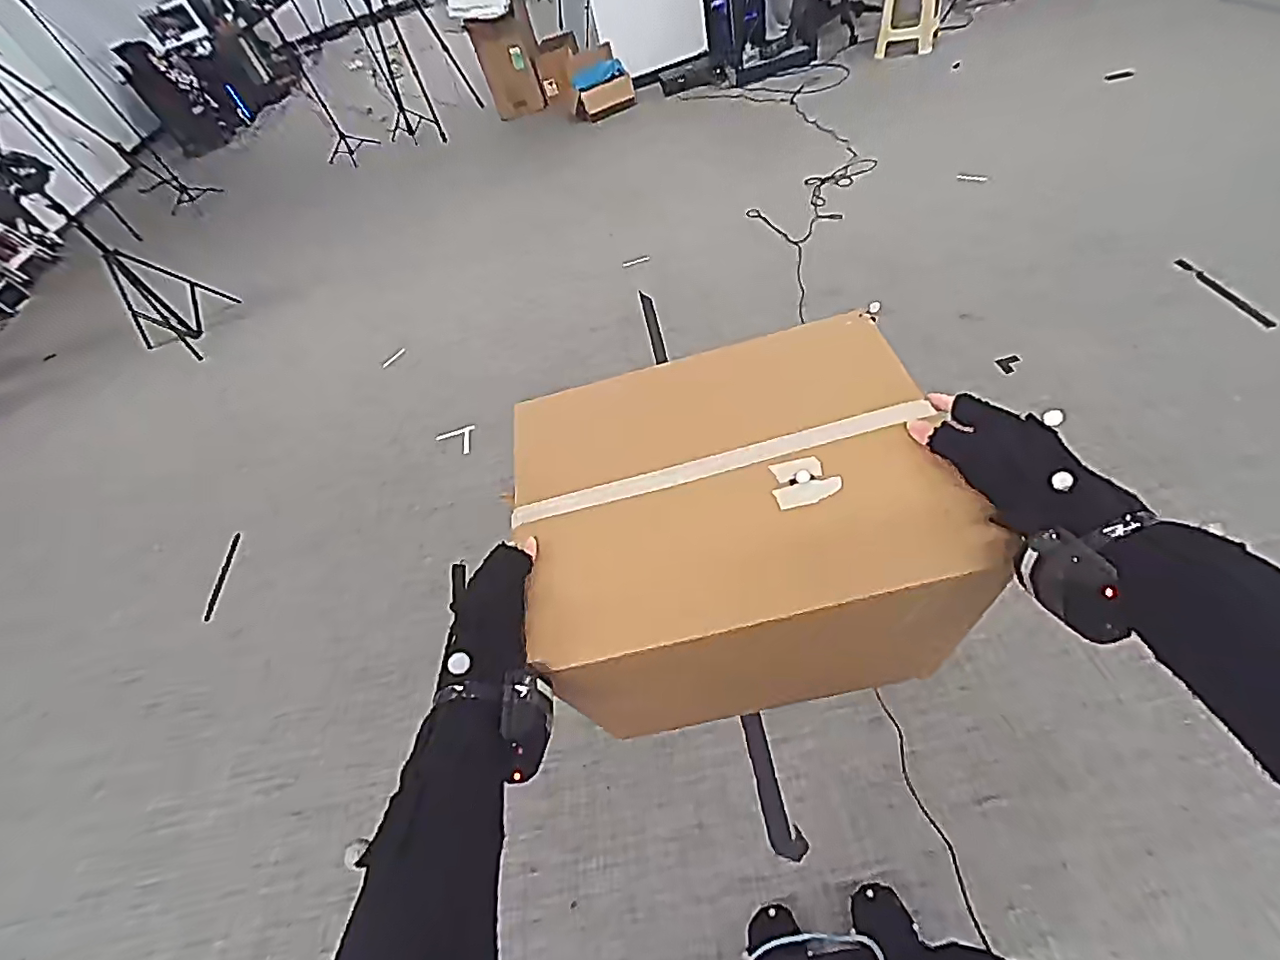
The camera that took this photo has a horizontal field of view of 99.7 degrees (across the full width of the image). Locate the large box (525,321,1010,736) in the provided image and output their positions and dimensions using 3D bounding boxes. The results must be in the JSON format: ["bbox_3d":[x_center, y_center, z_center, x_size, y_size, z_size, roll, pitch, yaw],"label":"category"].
[{"bbox_3d":[0.110,0.075,0.647,0.408,0.320,0.320,-15,54,4],"label":"large box"}]
